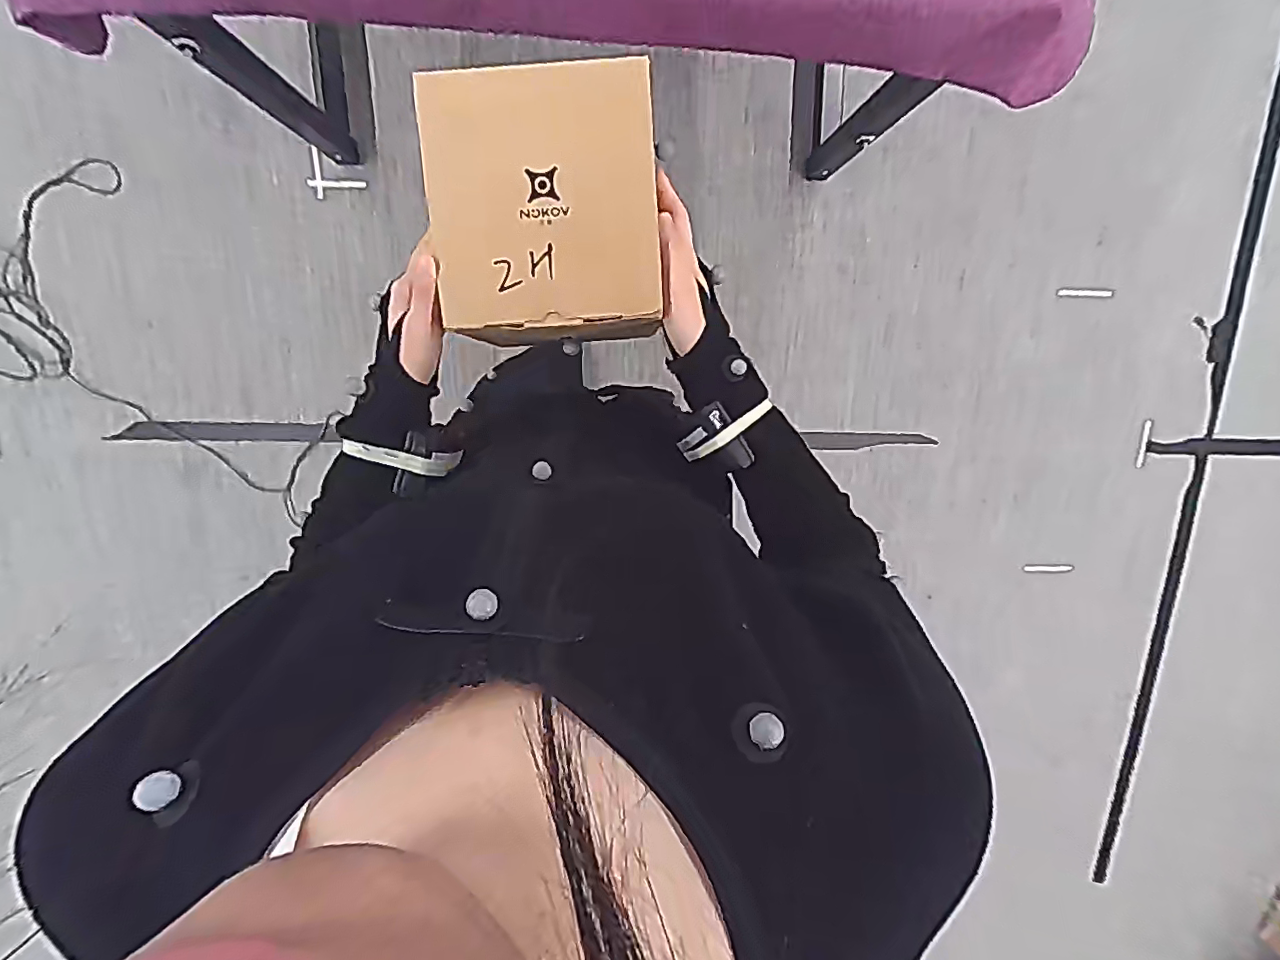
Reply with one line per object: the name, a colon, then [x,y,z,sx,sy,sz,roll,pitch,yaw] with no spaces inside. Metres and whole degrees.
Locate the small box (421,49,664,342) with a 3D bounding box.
small box: [-0.068,-0.220,0.463,0.168,0.176,0.179,-3,99,0]
